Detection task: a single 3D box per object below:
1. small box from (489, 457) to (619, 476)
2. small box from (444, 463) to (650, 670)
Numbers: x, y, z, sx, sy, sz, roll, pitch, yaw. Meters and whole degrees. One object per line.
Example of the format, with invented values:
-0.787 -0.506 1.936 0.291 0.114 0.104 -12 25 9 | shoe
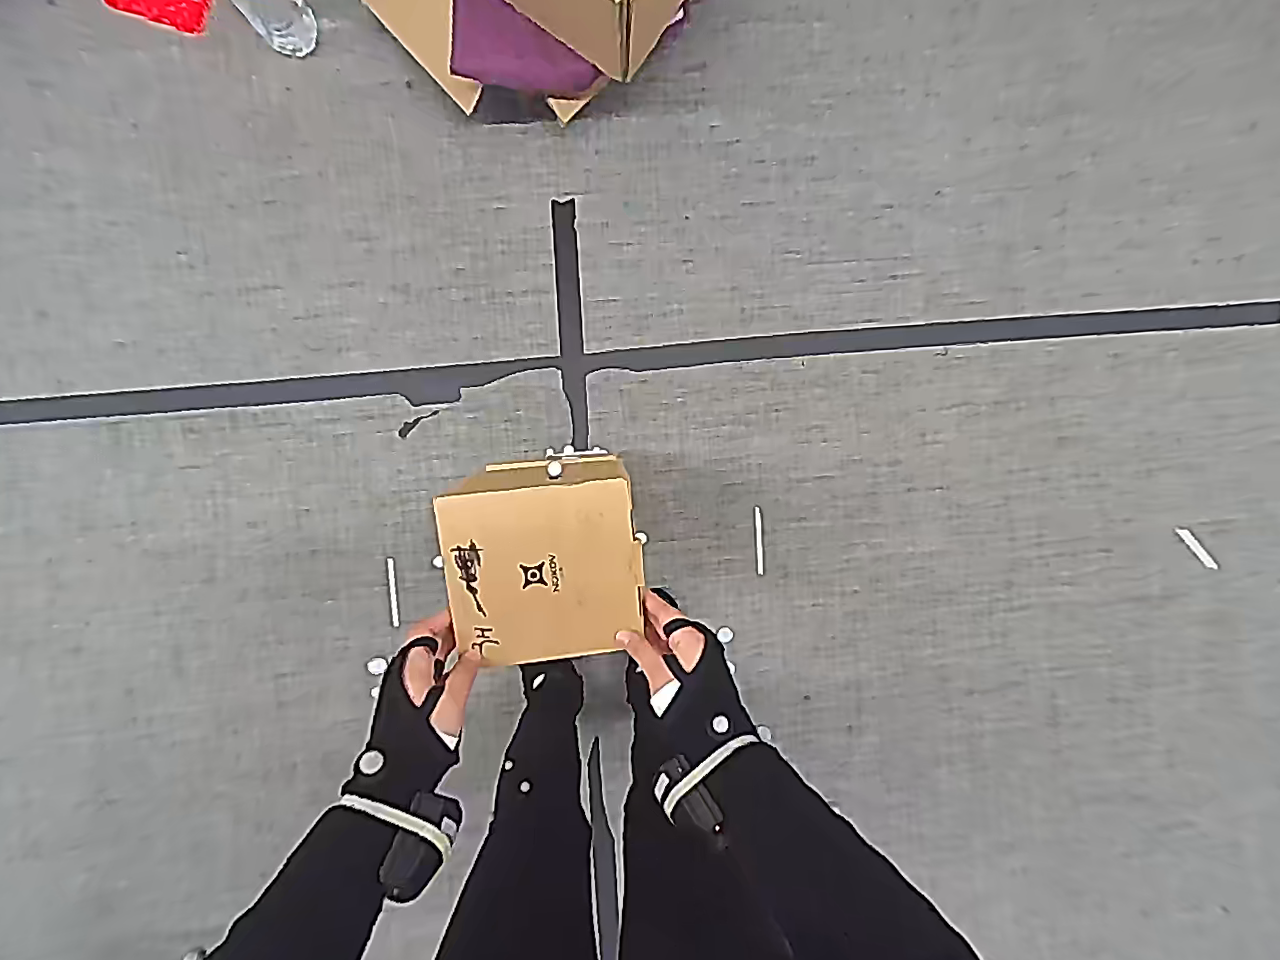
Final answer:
-0.107 0.060 0.764 0.168 0.176 0.179 -5 93 -3 | small box
-0.091 0.077 0.574 0.179 0.176 0.168 -6 98 -5 | small box
